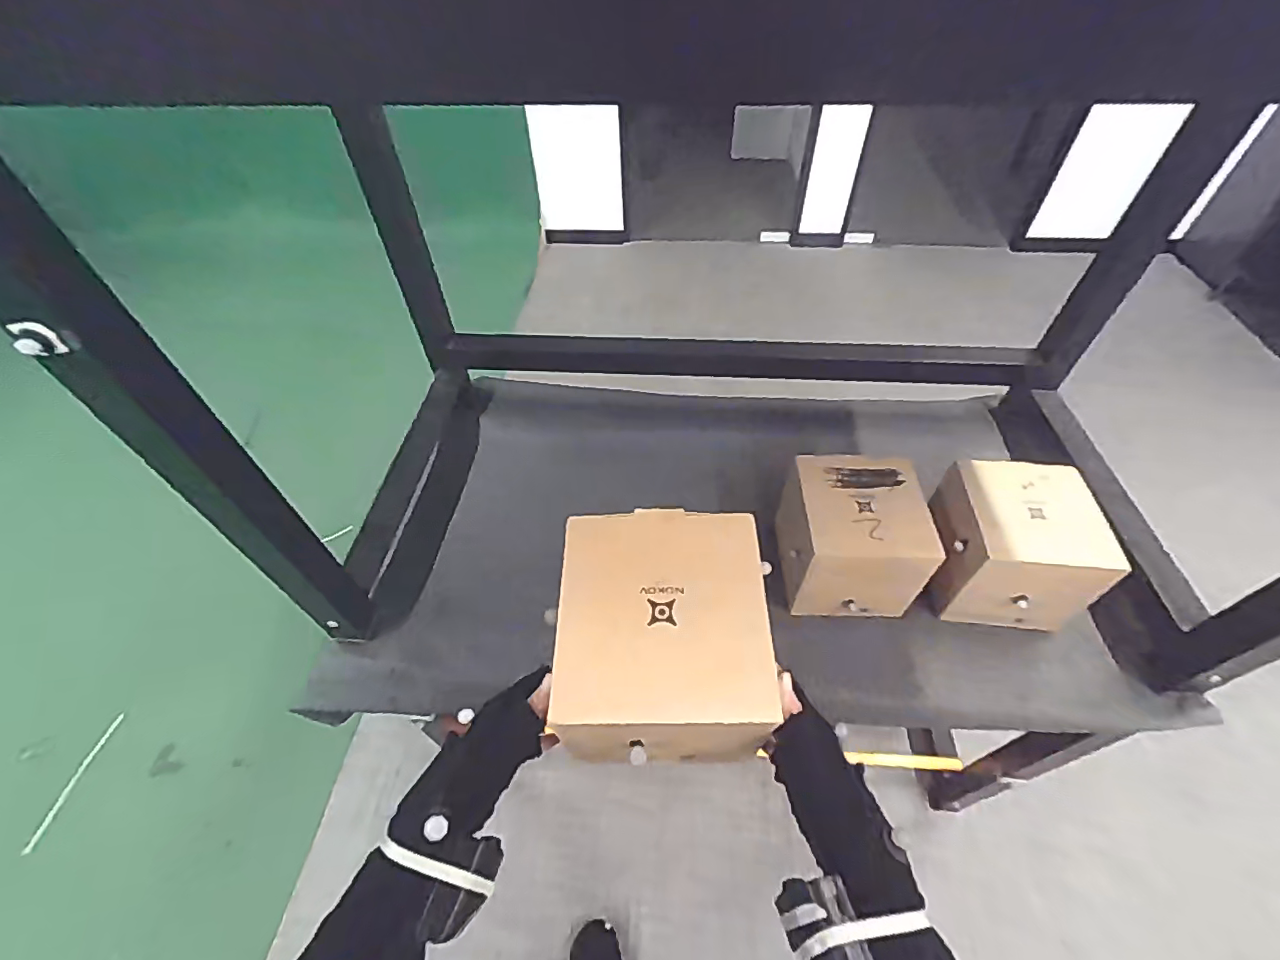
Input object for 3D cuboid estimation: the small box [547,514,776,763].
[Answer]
[{"bbox_3d":[0.019,0.149,0.491,0.168,0.176,0.179,-1,52,1],"label":"small box"}]
